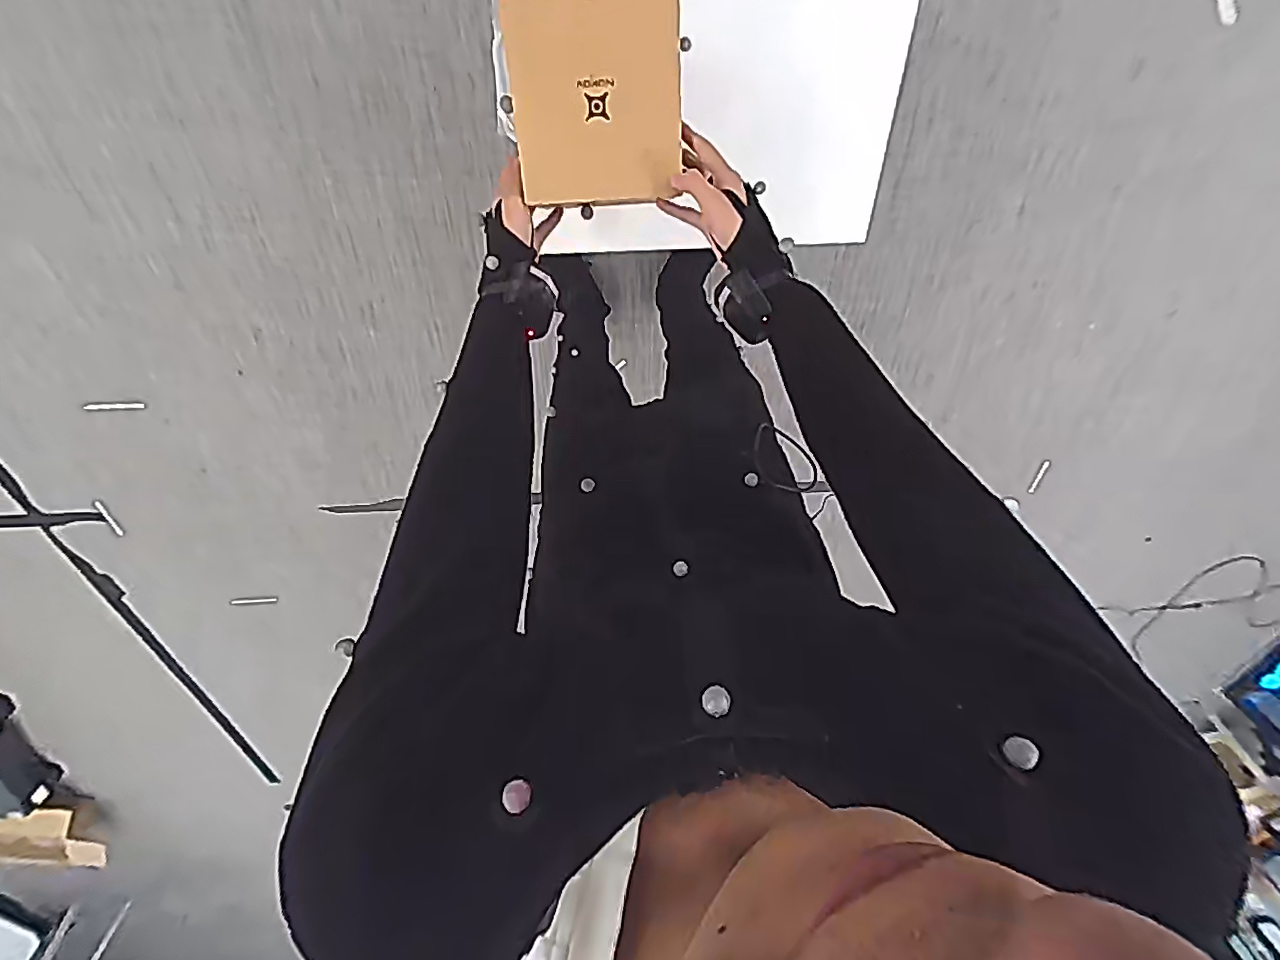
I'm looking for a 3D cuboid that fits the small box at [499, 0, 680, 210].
[{"bbox_3d":[-0.045,-0.398,0.595,0.168,0.176,0.179,-4,114,-1],"label":"small box"}]
